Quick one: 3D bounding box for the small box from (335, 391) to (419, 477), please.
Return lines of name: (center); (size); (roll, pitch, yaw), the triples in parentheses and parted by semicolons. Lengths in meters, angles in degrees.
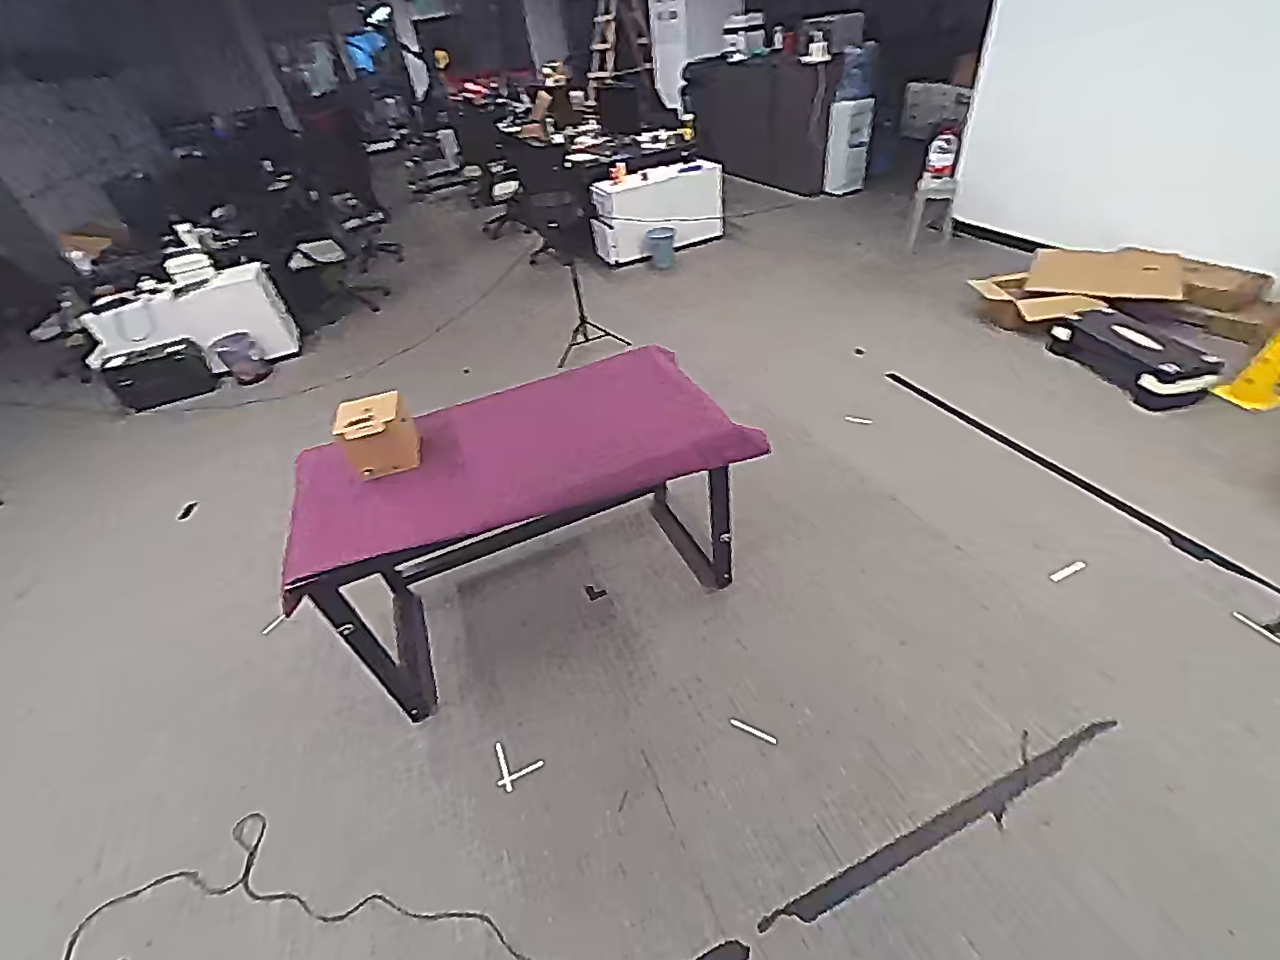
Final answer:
small box: (-0.751, -0.127, 1.563); (0.168, 0.176, 0.179); (-16, 41, -9)
